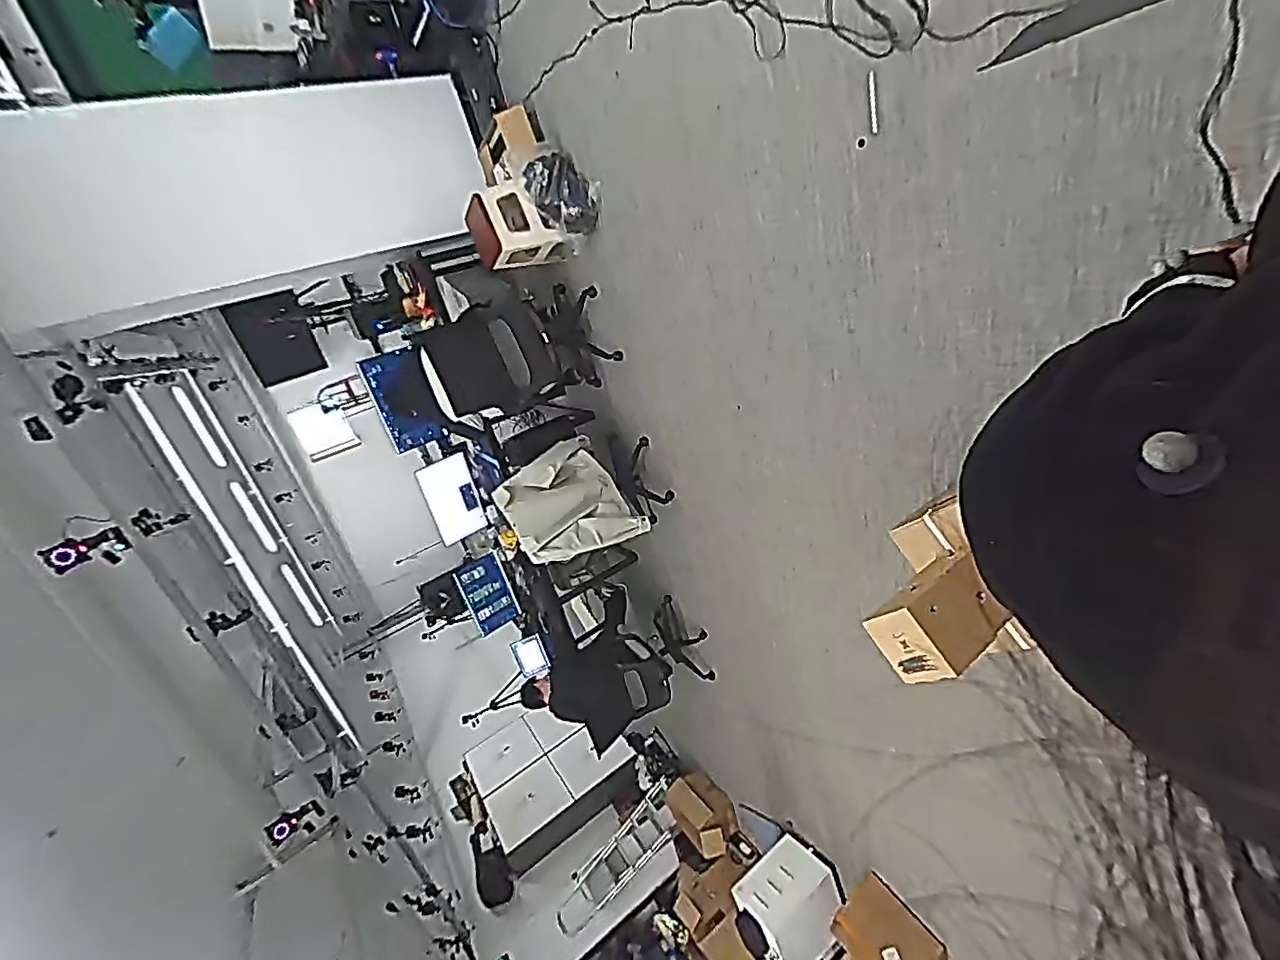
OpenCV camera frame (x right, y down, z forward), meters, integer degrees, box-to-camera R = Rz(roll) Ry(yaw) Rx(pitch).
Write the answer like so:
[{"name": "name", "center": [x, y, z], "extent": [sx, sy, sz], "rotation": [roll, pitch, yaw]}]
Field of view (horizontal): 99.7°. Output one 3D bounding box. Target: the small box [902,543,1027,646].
[{"name": "small box", "center": [0.814, 0.286, 1.355], "extent": [0.179, 0.176, 0.168], "rotation": [57, 153, 15]}]
